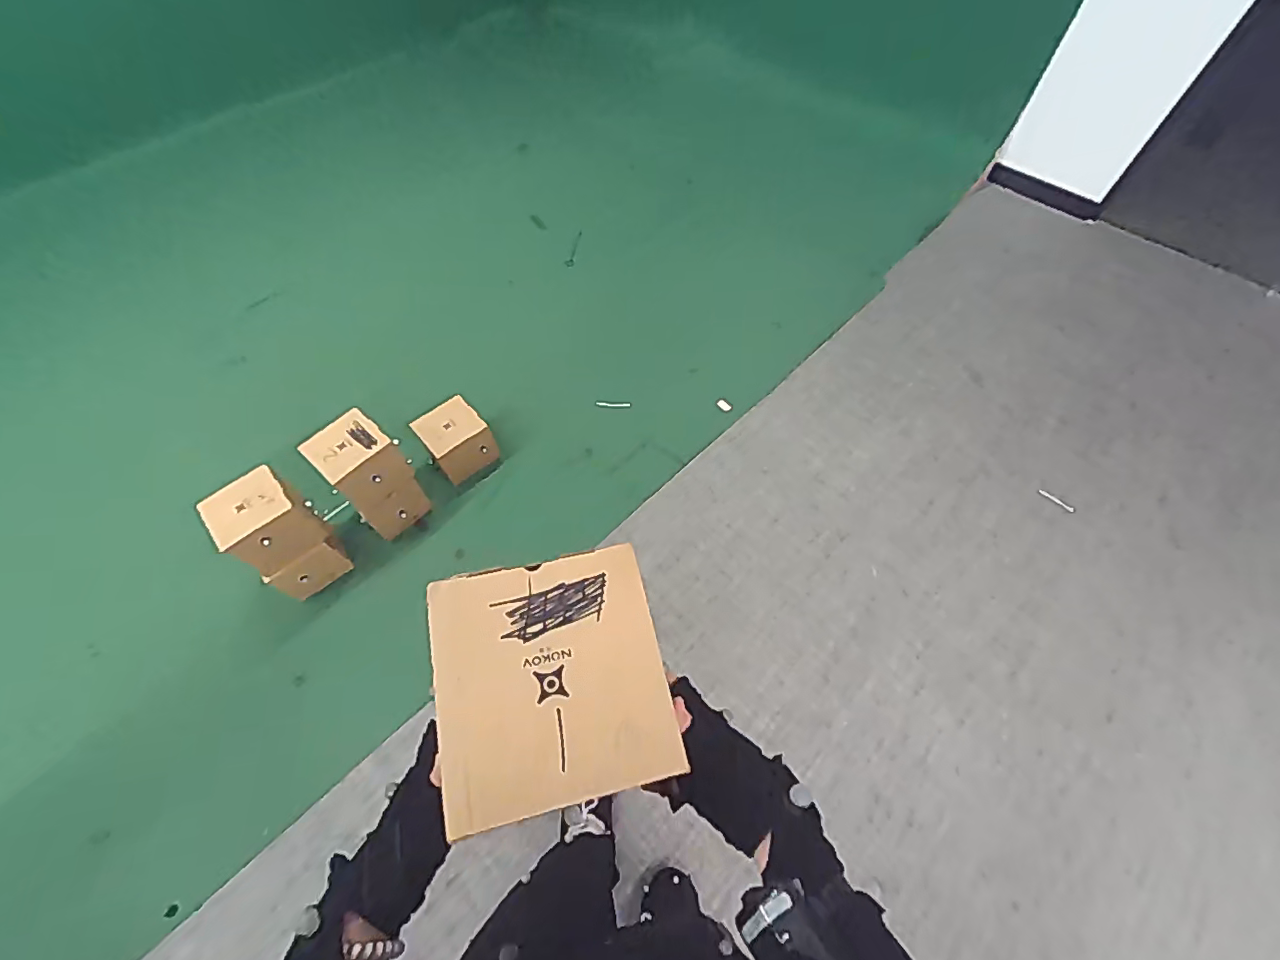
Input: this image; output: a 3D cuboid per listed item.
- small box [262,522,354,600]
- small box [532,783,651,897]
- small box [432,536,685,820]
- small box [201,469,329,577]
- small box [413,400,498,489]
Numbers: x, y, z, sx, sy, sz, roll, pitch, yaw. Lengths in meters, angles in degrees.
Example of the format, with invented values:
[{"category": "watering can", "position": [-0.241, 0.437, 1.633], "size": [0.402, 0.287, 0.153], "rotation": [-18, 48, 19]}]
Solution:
[{"category": "small box", "position": [-0.925, 0.209, 1.485], "size": [0.168, 0.176, 0.179], "rotation": [-36, 64, -19]}, {"category": "small box", "position": [-0.109, 0.753, 1.165], "size": [0.179, 0.176, 0.168], "rotation": [23, 71, 34]}, {"category": "small box", "position": [-0.073, 0.172, 0.468], "size": [0.168, 0.176, 0.179], "rotation": [-10, 63, -11]}, {"category": "small box", "position": [-0.928, 0.112, 1.351], "size": [0.179, 0.176, 0.168], "rotation": [-37, 65, -19]}, {"category": "small box", "position": [-0.560, -0.106, 1.671], "size": [0.179, 0.176, 0.168], "rotation": [-37, 65, -19]}]
